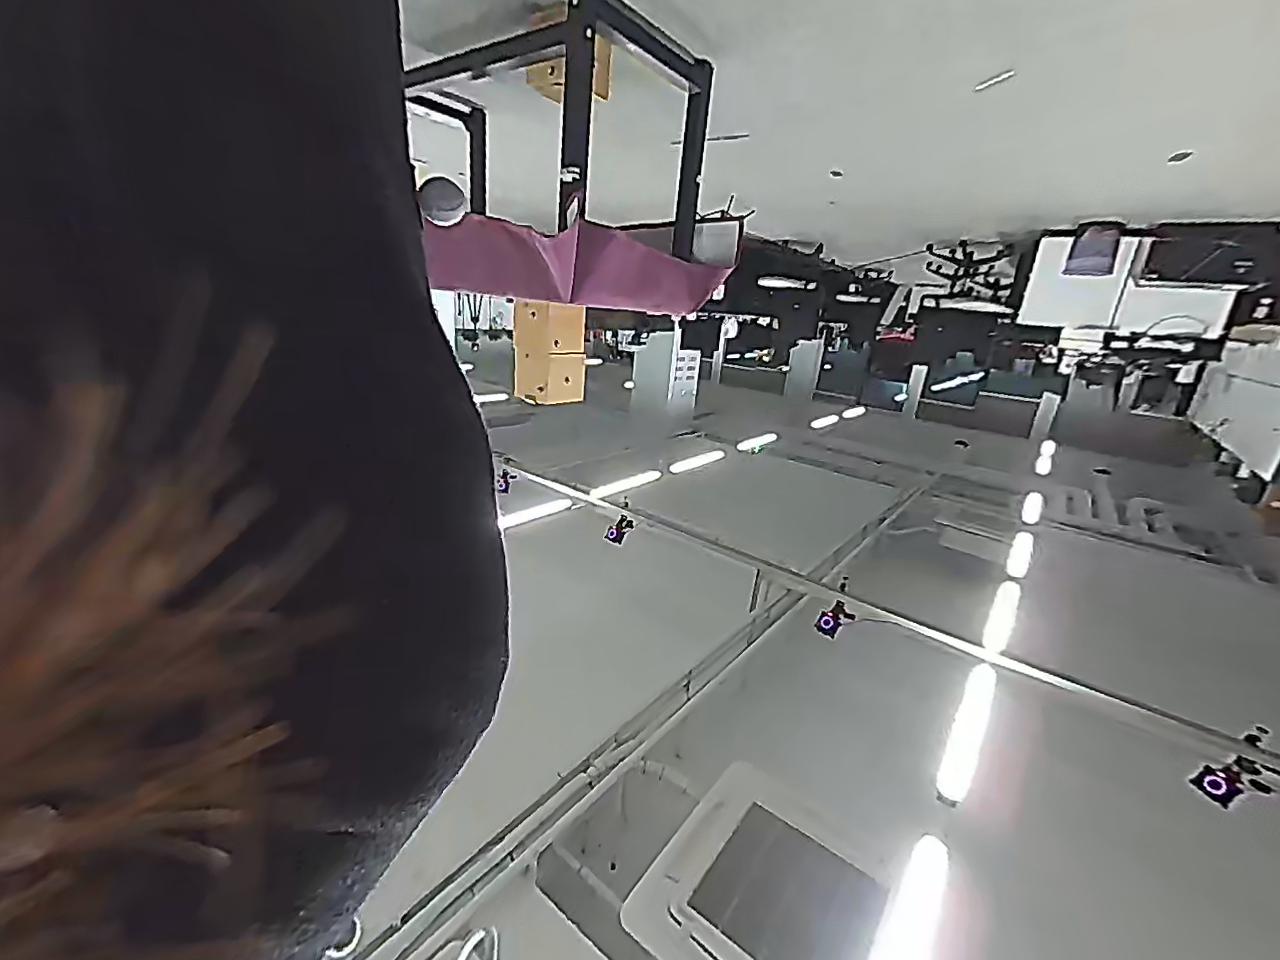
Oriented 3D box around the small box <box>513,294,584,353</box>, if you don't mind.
[{"bbox_3d":[-0.301,-0.522,1.801,0.168,0.176,0.179,18,-158,34],"label":"small box"}]
